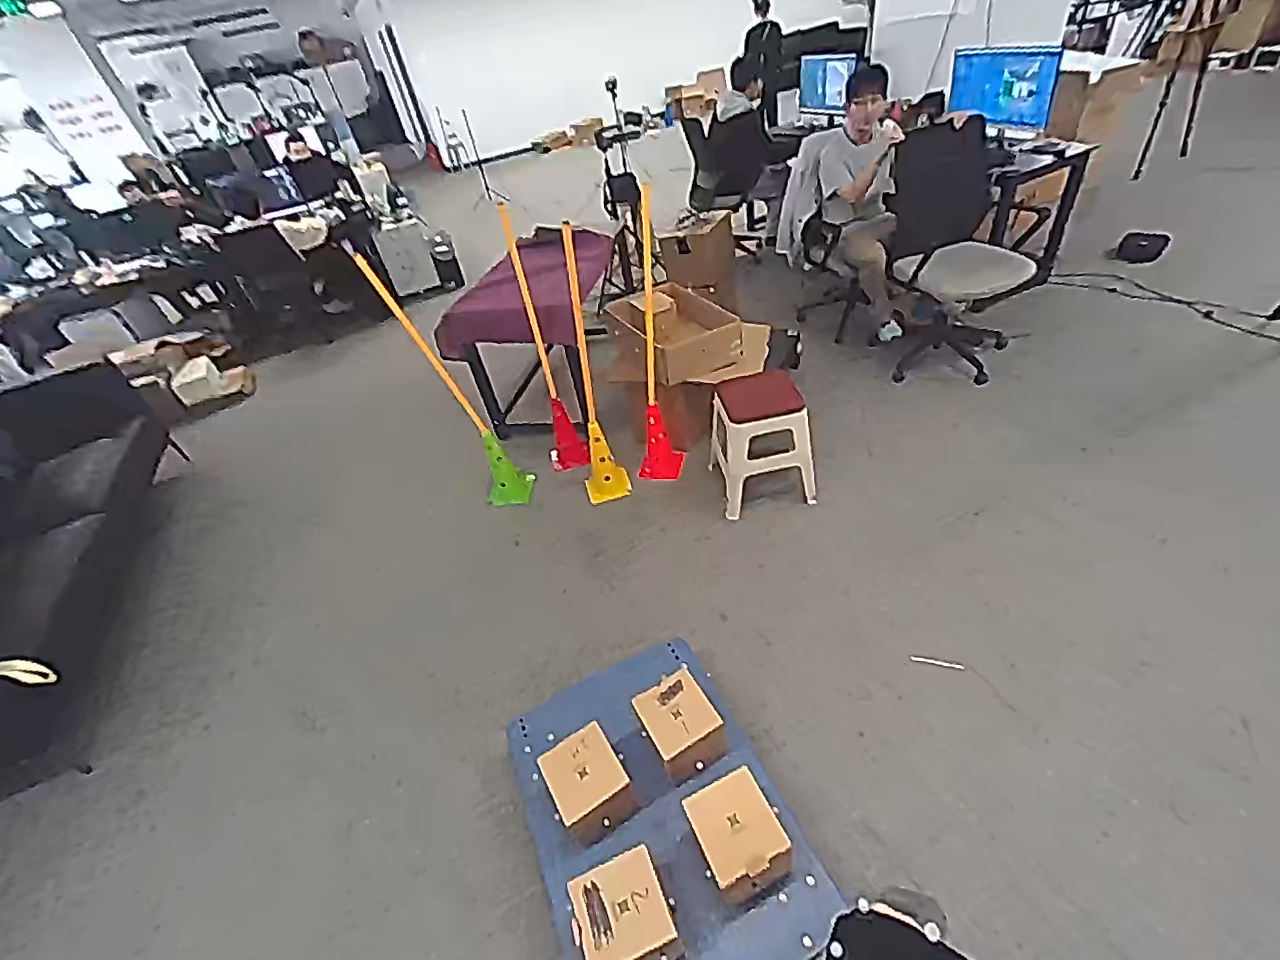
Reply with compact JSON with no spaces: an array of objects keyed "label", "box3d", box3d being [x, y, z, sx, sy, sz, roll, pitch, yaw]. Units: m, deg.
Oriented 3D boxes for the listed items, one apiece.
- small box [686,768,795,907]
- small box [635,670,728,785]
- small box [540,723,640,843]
[{"label":"small box","box3d":[0.215,0.776,1.173,0.168,0.176,0.179,-23,41,-12]},{"label":"small box","box3d":[0.106,0.627,1.369,0.168,0.176,0.179,-26,43,-15]},{"label":"small box","box3d":[-0.116,0.734,1.302,0.168,0.176,0.179,-27,43,-18]}]
